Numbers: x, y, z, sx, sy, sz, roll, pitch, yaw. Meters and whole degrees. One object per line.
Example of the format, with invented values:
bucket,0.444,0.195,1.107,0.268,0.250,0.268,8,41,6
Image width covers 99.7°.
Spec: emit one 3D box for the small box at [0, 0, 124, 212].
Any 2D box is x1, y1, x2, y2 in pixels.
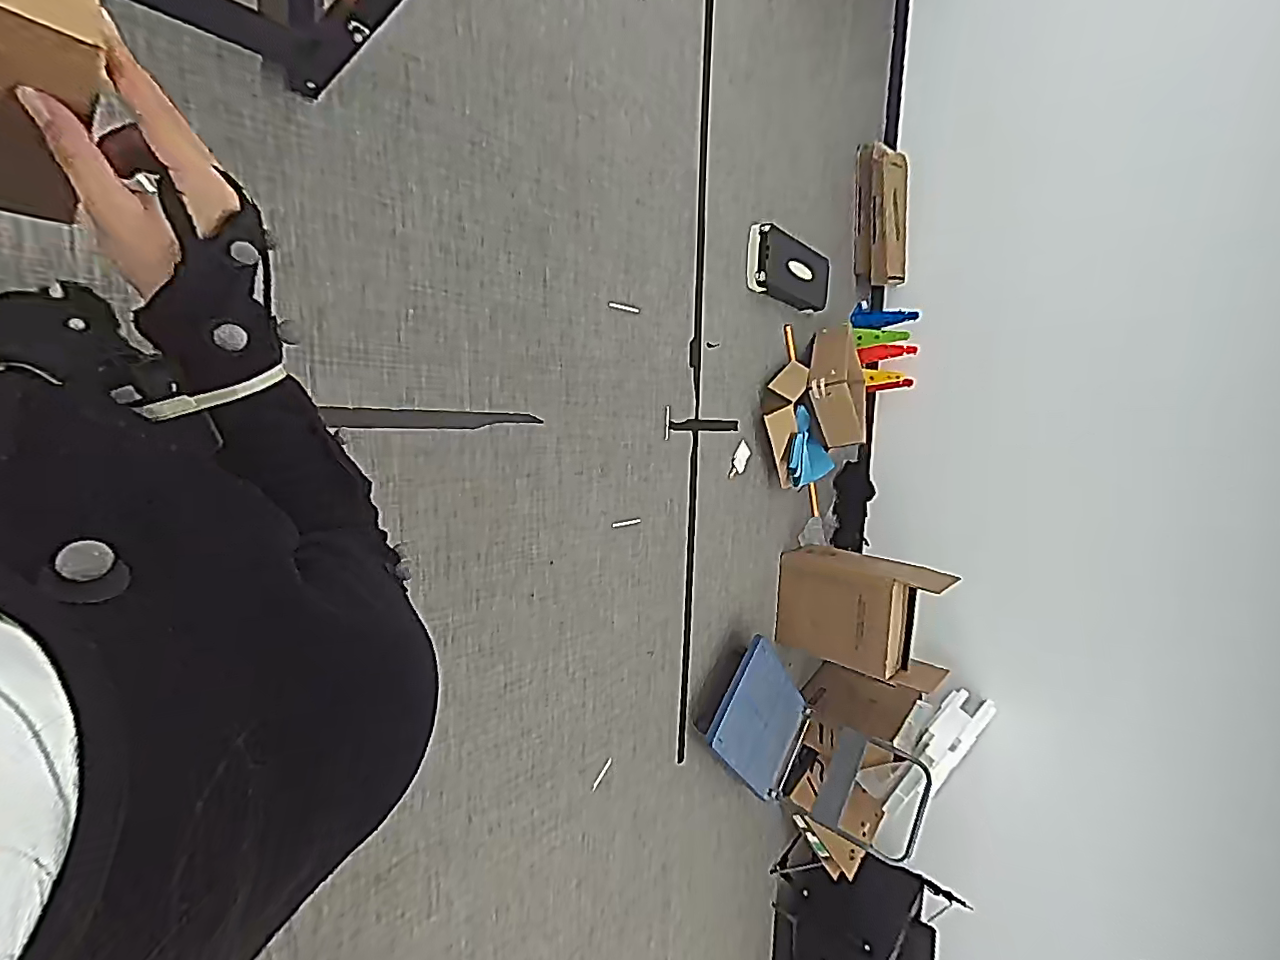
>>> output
small box,-0.360,-0.251,0.235,0.179,0.176,0.168,-4,84,-51
